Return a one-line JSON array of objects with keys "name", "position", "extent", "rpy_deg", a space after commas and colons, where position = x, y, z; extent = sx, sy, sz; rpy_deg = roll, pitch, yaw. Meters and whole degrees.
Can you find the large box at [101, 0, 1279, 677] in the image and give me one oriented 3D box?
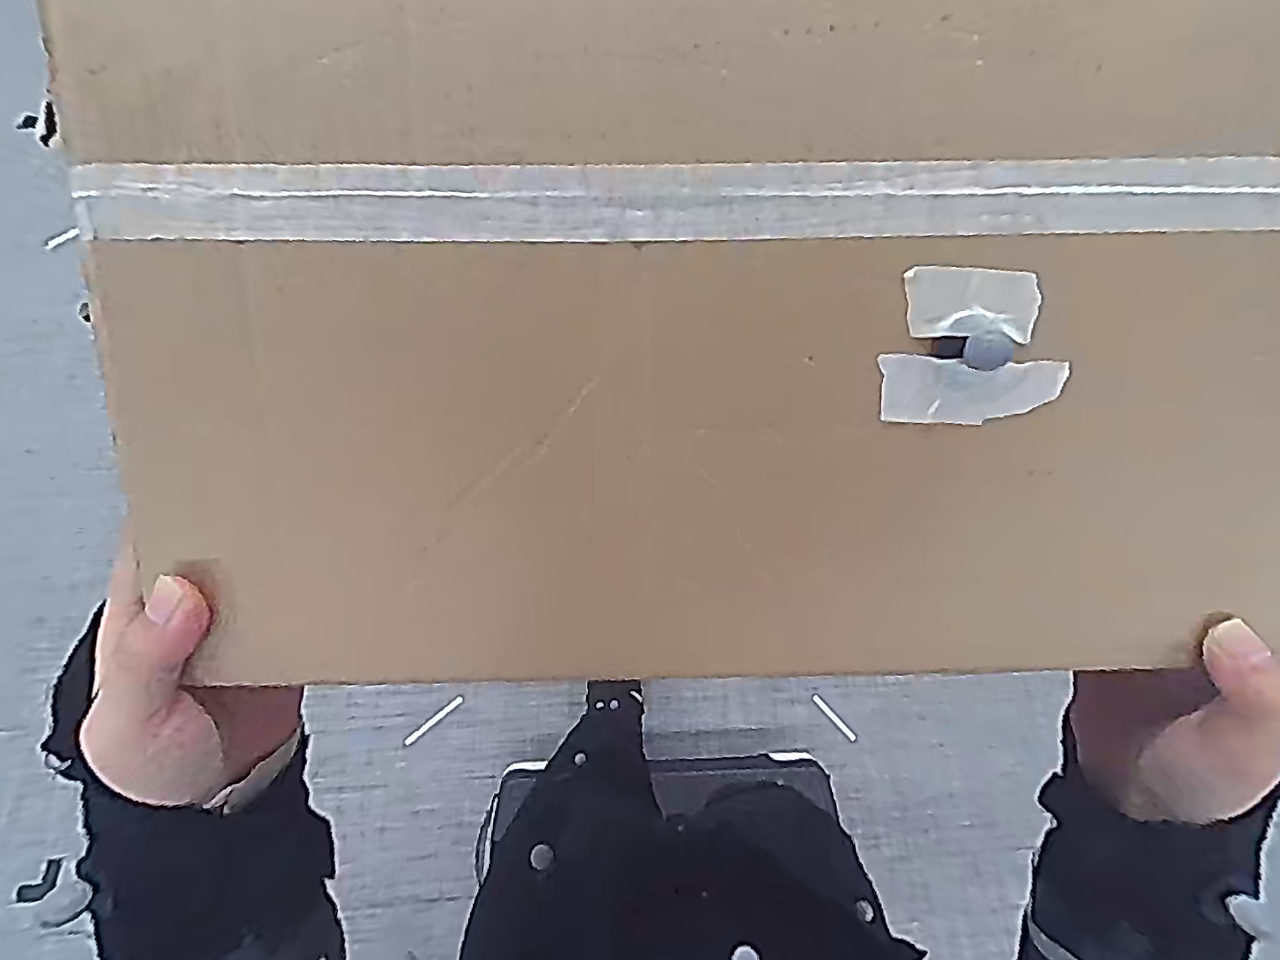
[{"name": "large box", "position": [0.028, -0.108, 0.327], "extent": [0.408, 0.320, 0.320], "rpy_deg": [-2, 99, -2]}]
